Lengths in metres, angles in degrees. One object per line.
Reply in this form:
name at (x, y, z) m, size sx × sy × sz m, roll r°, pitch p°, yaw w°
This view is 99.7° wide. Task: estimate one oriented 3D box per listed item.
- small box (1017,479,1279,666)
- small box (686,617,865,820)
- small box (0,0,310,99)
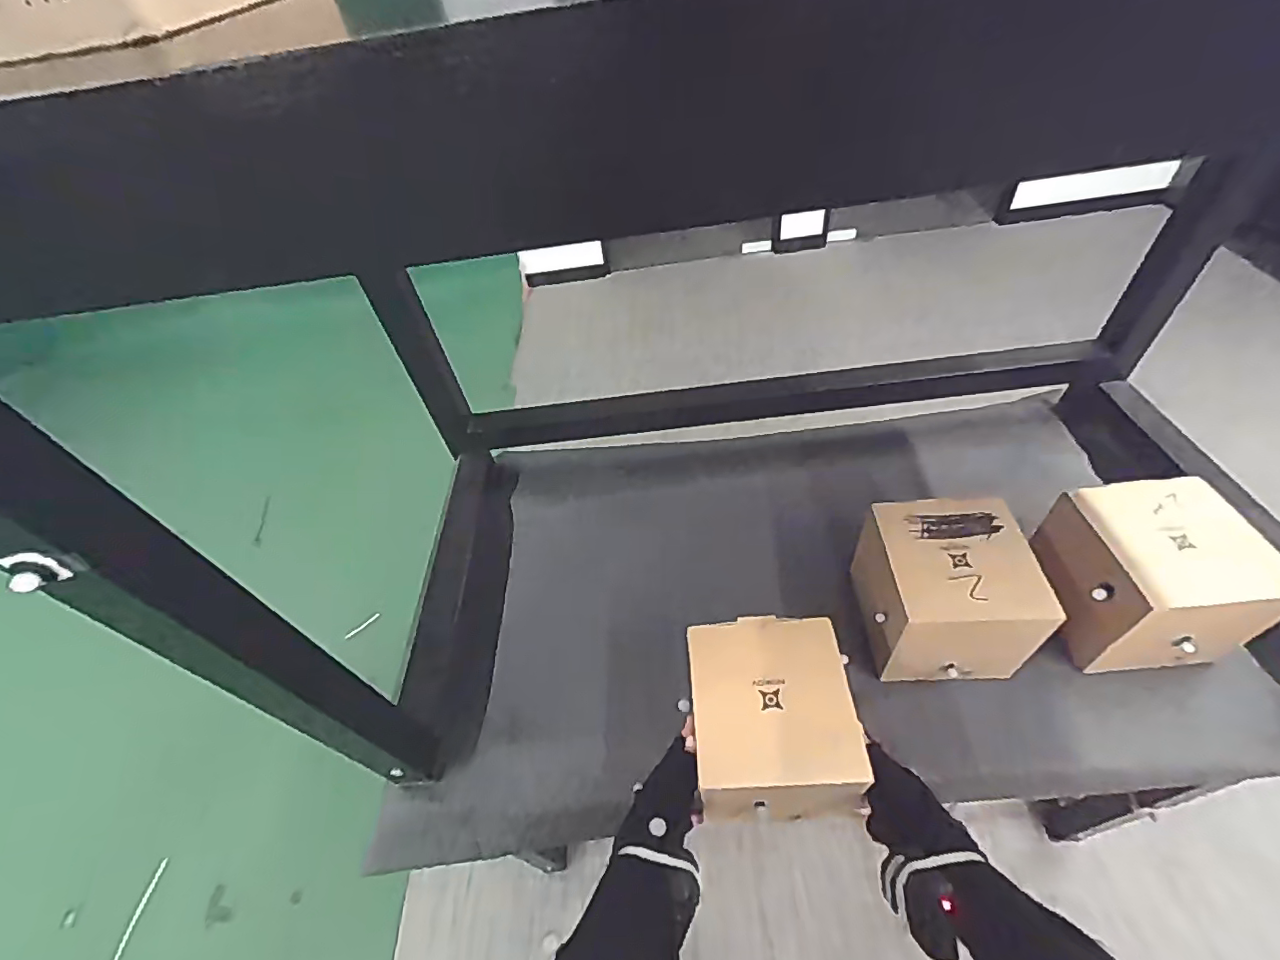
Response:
small box at (0.634, 0.125, 0.693) m, size 0.168 × 0.176 × 0.179 m, roll -6°, pitch 46°, yaw 4°
small box at (0.145, 0.283, 0.632) m, size 0.168 × 0.176 × 0.179 m, roll -5°, pitch 45°, yaw 5°
small box at (-0.261, -0.256, 0.195) m, size 0.168 × 0.176 × 0.179 m, roll -7°, pitch 49°, yaw 3°
